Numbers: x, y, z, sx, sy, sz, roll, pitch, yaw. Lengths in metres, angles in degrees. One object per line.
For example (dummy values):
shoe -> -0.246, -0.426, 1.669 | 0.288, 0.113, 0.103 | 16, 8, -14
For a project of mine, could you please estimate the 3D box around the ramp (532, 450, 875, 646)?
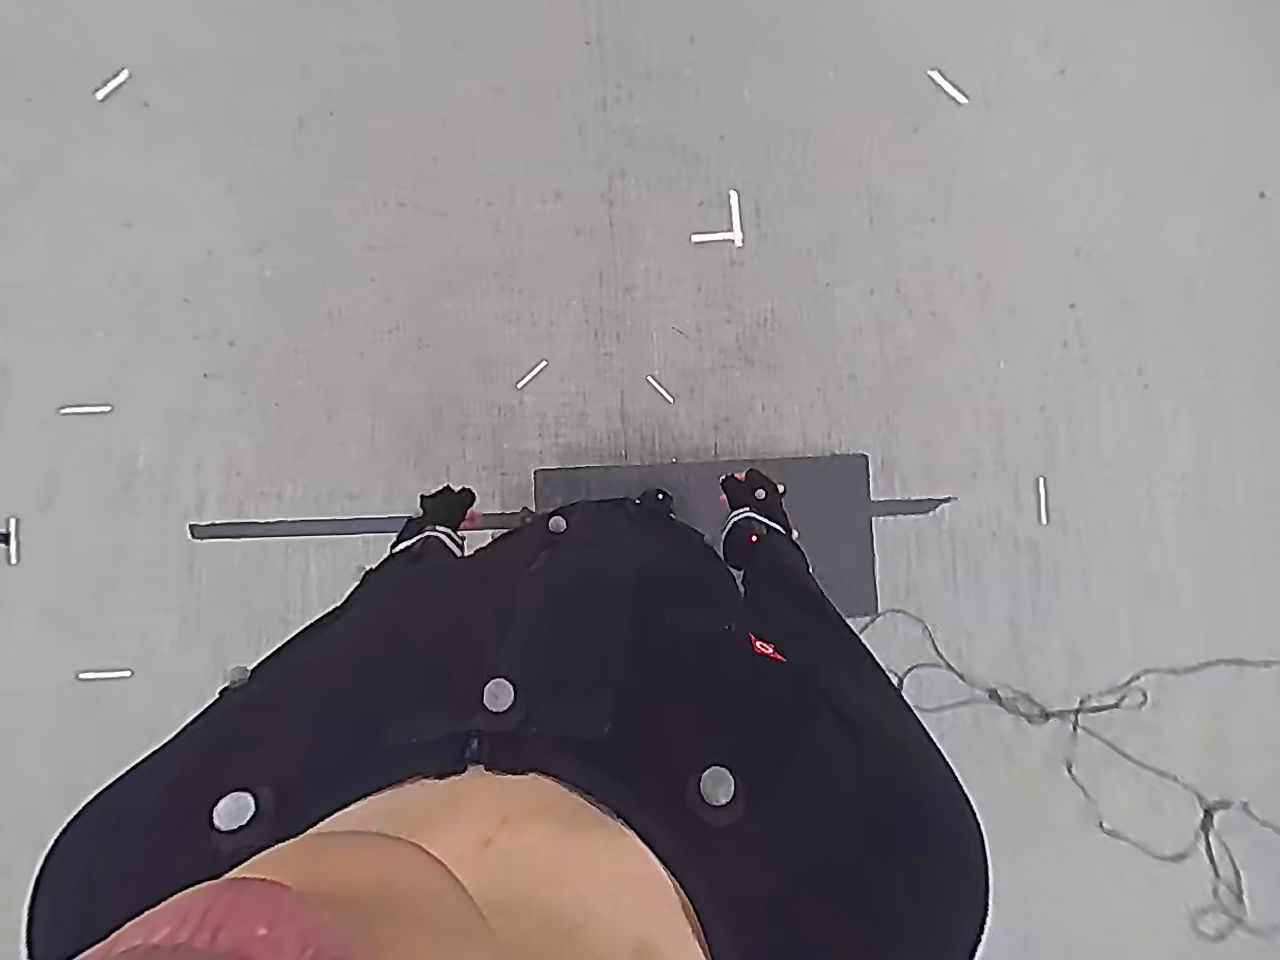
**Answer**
ramp -> 0.206, 0.174, 1.554 | 0.991, 0.206, 0.509 | -5, 87, -1
